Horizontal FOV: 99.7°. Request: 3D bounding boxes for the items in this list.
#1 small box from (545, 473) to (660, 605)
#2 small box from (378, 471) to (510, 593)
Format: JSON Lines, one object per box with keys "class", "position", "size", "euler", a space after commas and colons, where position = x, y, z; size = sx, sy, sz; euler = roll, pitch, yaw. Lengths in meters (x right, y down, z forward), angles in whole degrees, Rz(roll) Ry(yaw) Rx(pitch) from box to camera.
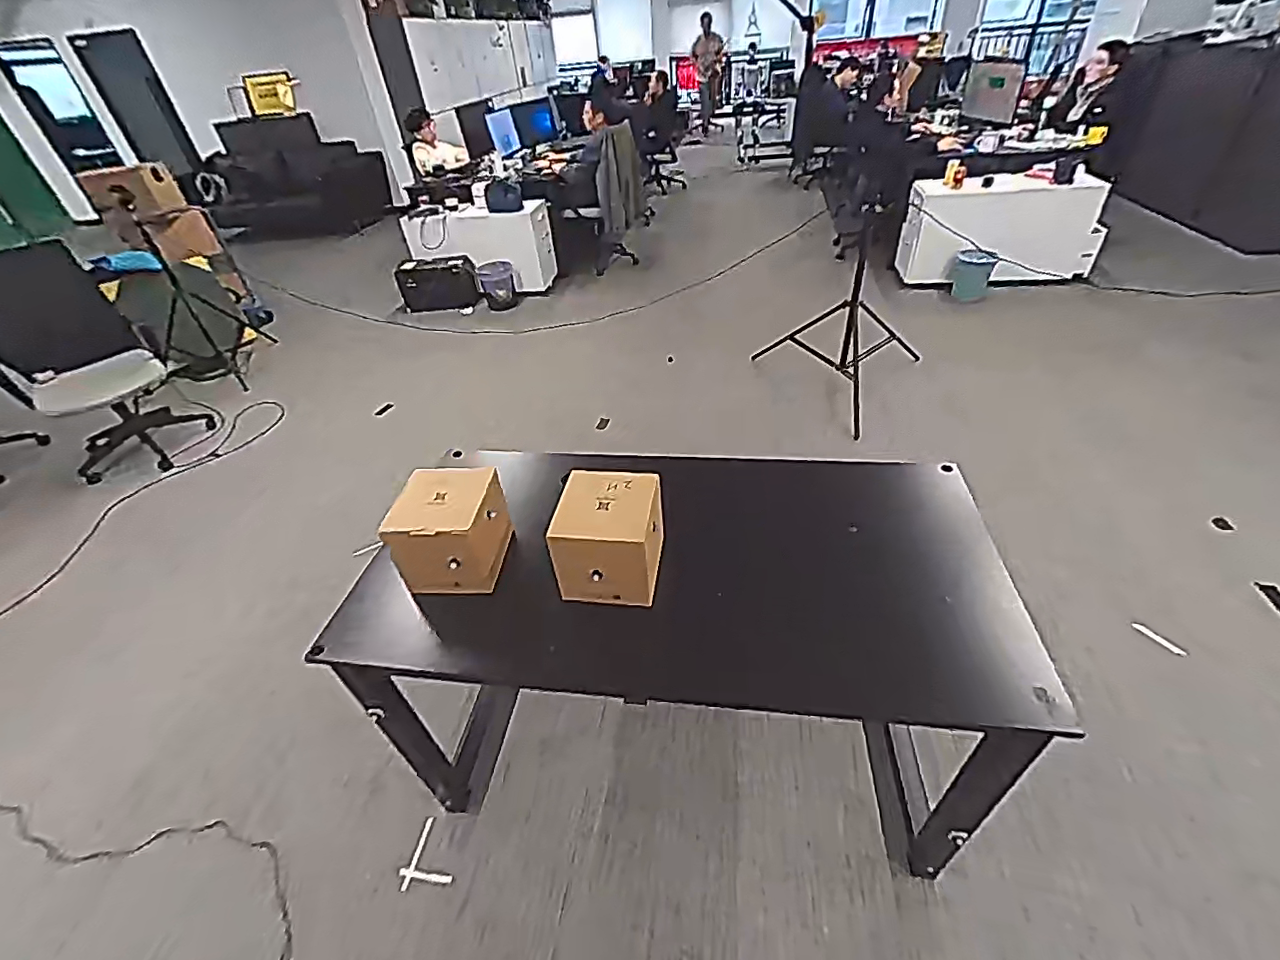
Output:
{"class": "small box", "position": [-0.056, 0.107, 0.984], "size": [0.168, 0.176, 0.179], "euler": [3, 40, 10]}
{"class": "small box", "position": [-0.360, 0.101, 1.033], "size": [0.168, 0.176, 0.179], "euler": [-1, 38, 5]}
